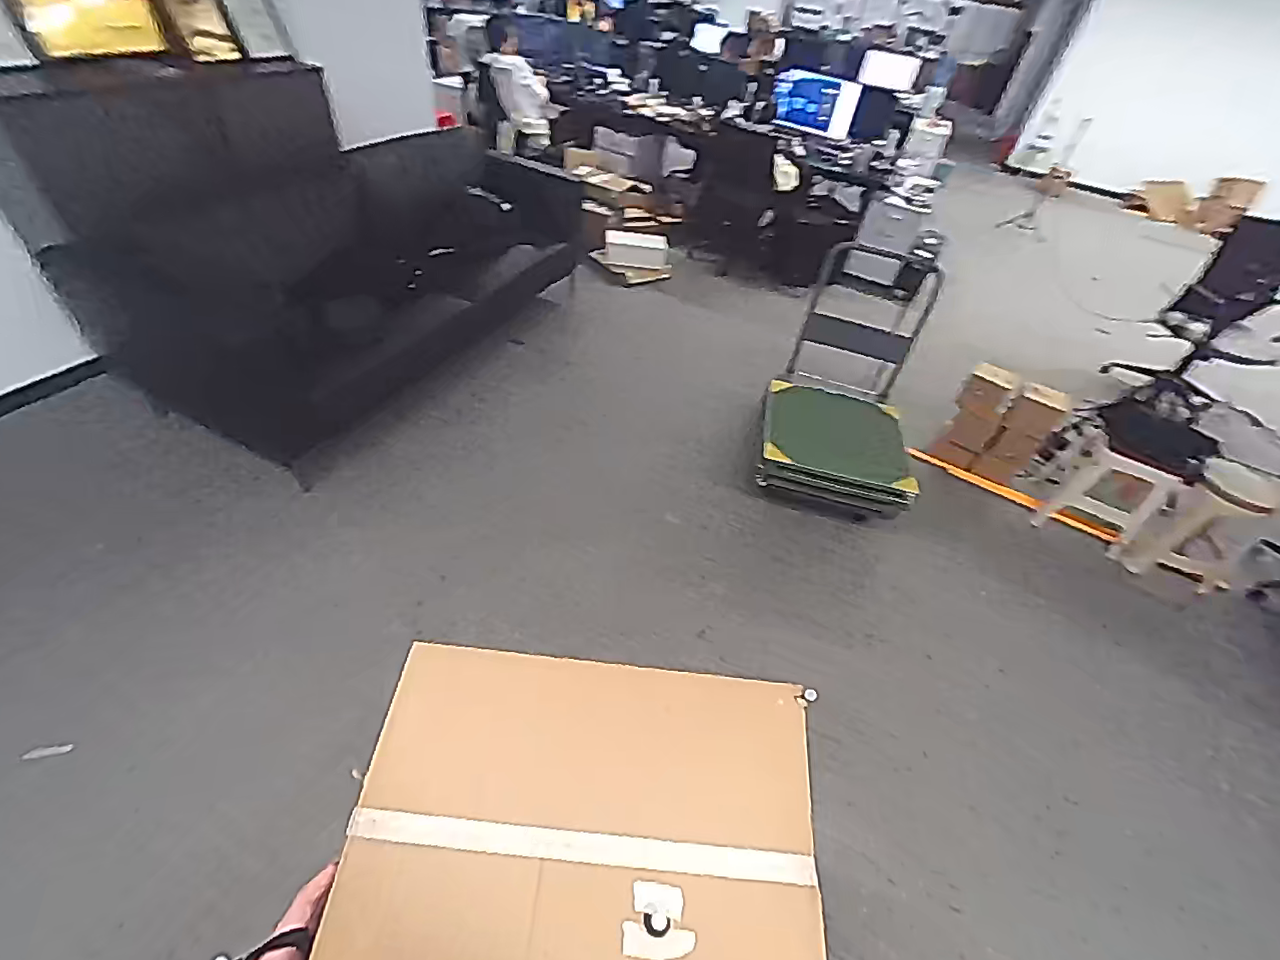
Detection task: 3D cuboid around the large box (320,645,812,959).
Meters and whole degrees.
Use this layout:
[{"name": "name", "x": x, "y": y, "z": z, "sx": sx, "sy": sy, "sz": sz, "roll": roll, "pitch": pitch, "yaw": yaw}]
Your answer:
[{"name": "large box", "x": -0.062, "y": 0.398, "z": 0.607, "sx": 0.408, "sy": 0.320, "sz": 0.320, "roll": 6, "pitch": 57, "yaw": -1}]
